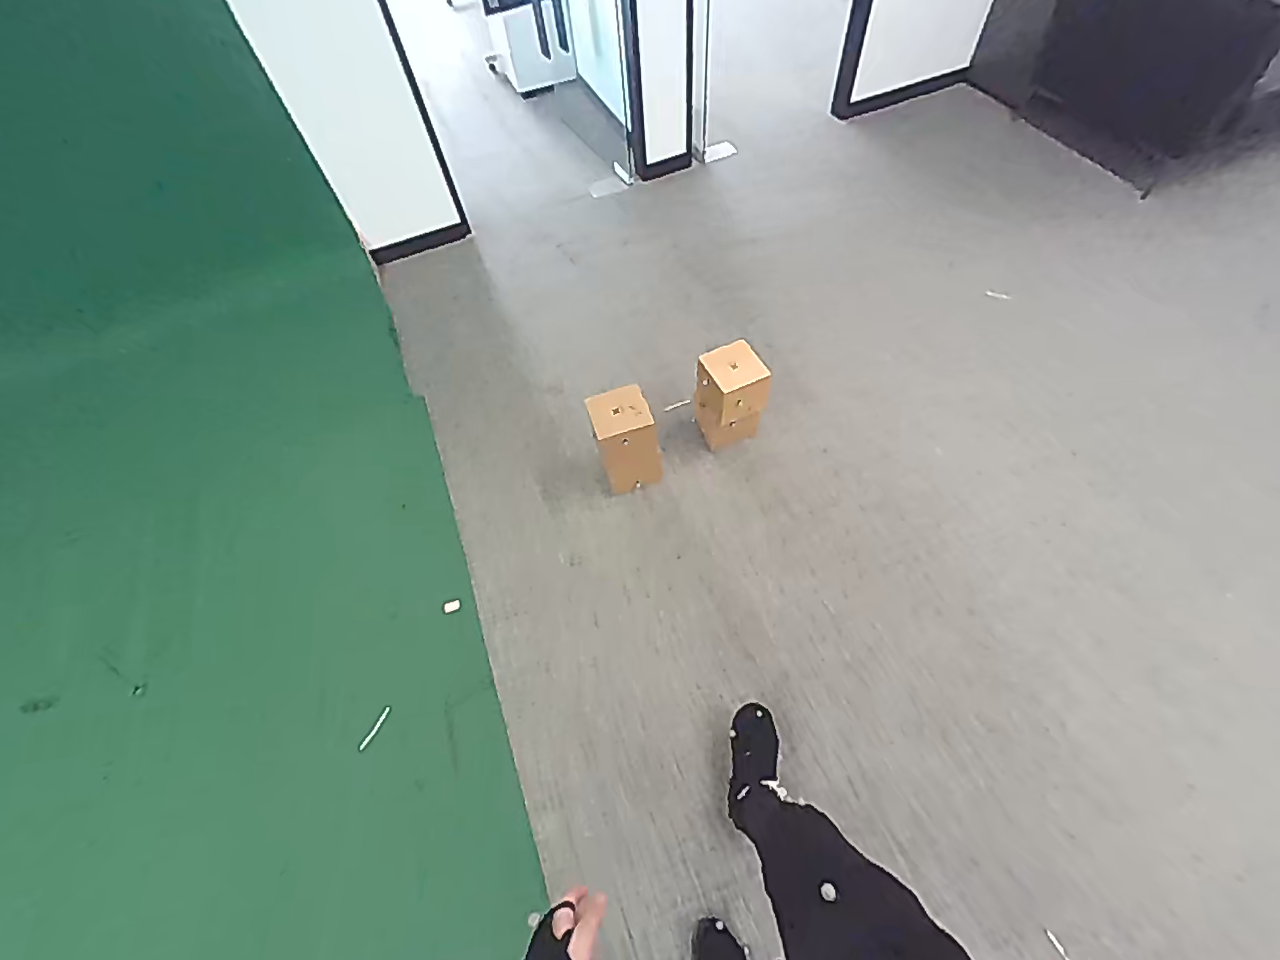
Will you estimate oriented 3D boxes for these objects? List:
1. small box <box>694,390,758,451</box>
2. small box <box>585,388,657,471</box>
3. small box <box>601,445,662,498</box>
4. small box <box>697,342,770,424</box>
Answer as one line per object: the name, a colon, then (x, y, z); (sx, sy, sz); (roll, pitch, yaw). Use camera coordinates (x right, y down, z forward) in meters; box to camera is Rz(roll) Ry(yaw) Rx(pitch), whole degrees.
small box: (0.298, -0.226, 1.875); (0.179, 0.176, 0.168); (-20, 59, -8)
small box: (-0.054, -0.151, 1.668); (0.179, 0.176, 0.168); (-18, 58, -6)
small box: (-0.033, -0.066, 1.808); (0.179, 0.176, 0.168); (-18, 58, -7)
small box: (0.296, -0.301, 1.731); (0.168, 0.176, 0.179); (-24, 58, -9)
